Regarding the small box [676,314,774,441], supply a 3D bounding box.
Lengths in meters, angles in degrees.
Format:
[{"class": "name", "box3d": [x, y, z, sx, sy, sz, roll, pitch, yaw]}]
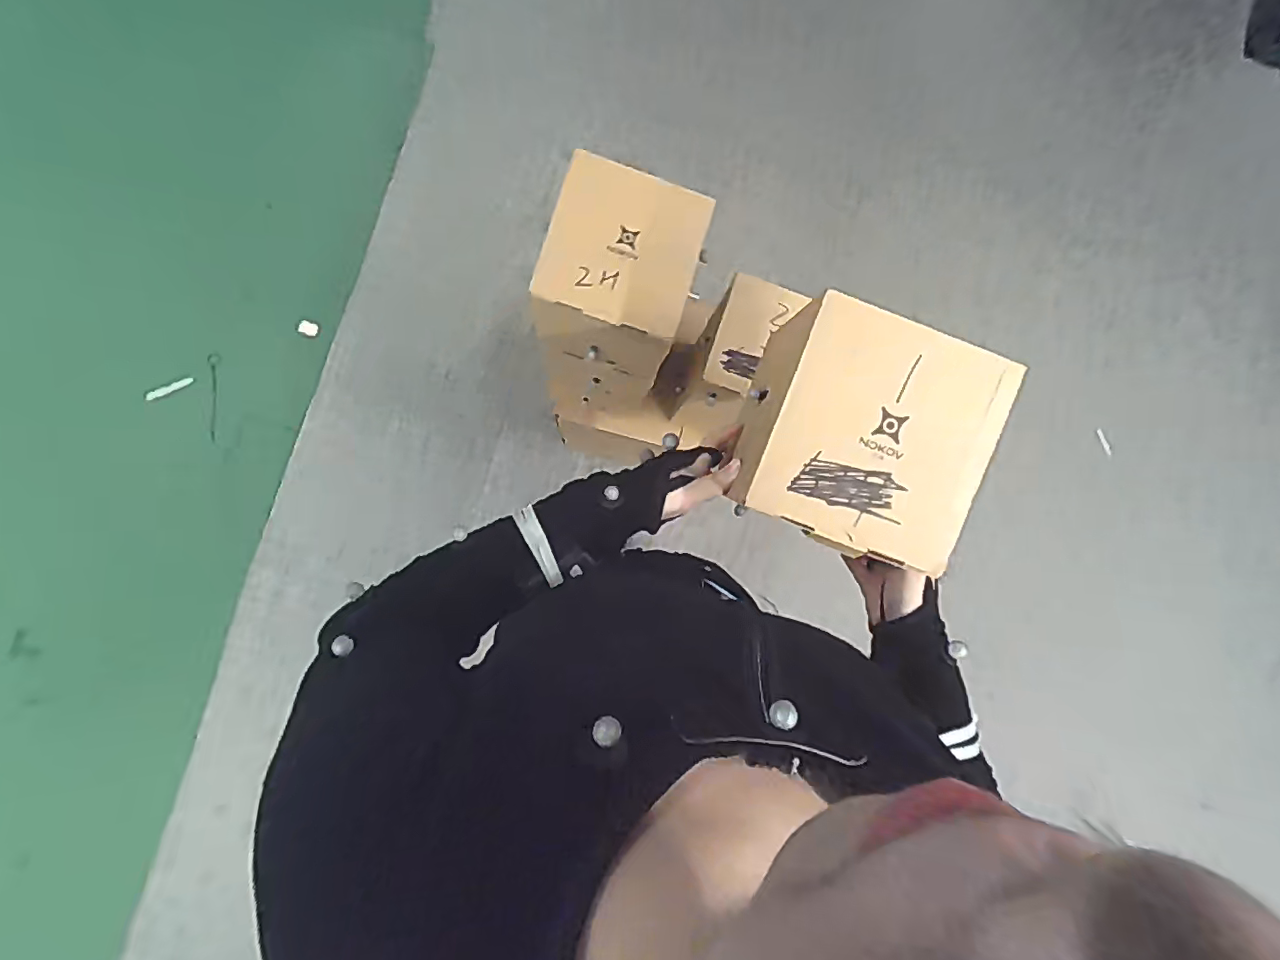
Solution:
[{"class": "small box", "box3d": [0.173, -0.175, 1.015, 0.168, 0.176, 0.179, 19, 83, -3]}]

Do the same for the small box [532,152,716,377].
[{"class": "small box", "box3d": [-0.025, -0.249, 0.670, 0.168, 0.176, 0.179, 18, 85, -5]}]

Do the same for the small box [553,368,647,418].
[{"class": "small box", "box3d": [-0.057, -0.230, 0.997, 0.168, 0.176, 0.179, 17, 85, -5]}]

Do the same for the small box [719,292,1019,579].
[{"class": "small box", "box3d": [0.180, -0.036, 0.487, 0.168, 0.176, 0.179, 20, 92, -2]}]

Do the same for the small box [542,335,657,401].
[{"class": "small box", "box3d": [-0.040, -0.235, 0.834, 0.168, 0.176, 0.179, 18, 86, -5]}]
